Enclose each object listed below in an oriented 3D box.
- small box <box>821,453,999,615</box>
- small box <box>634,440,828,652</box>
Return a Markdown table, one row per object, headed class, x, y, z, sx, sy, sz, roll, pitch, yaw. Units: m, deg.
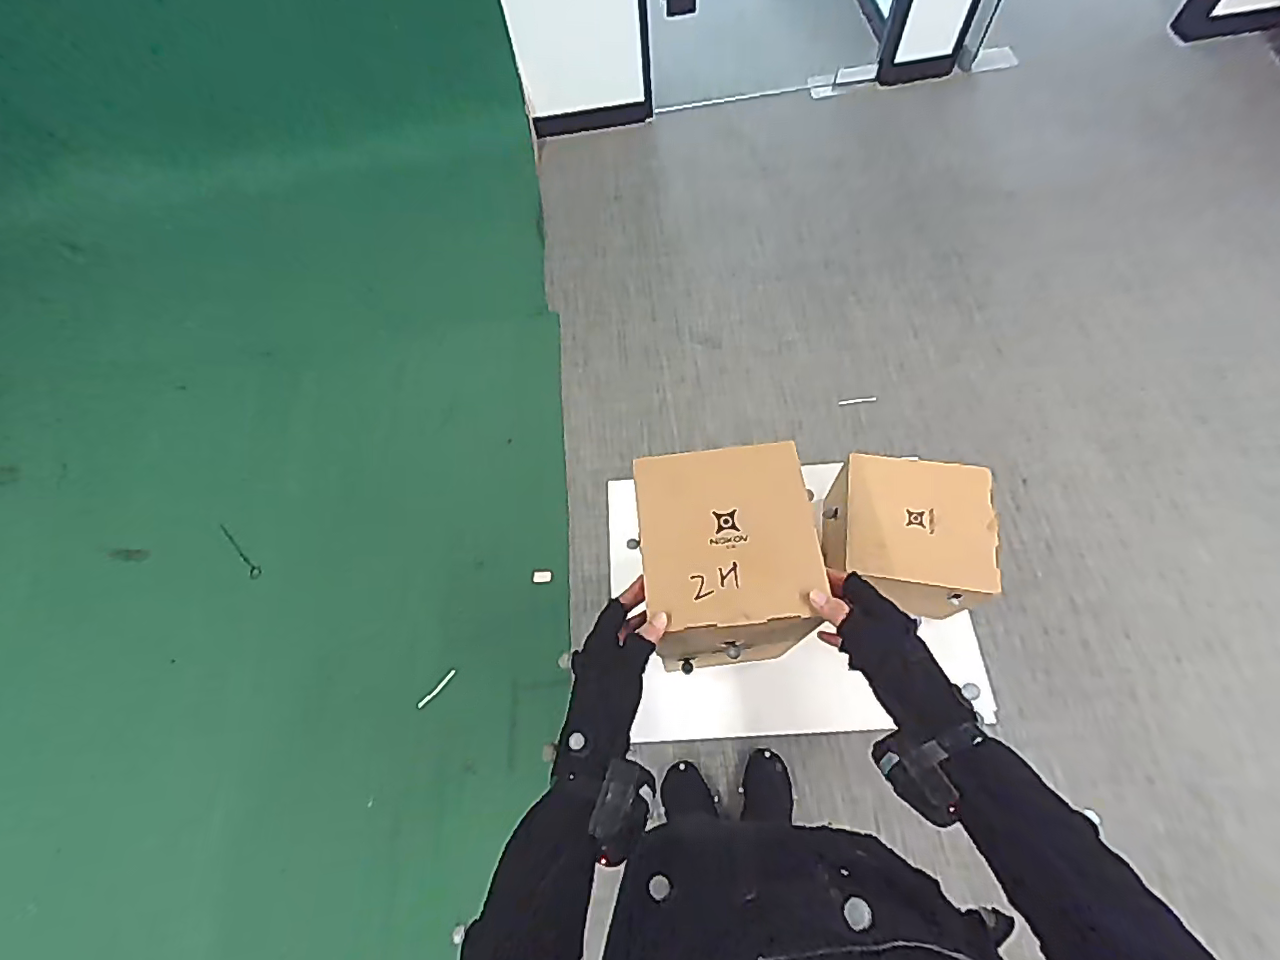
| class | x | y | z | sx | sy | sz | roll | pitch | yaw |
| --- | --- | --- | --- | --- | --- | --- | --- | --- | --- |
| small box | 0.350 | 0.080 | 0.738 | 0.179 | 0.176 | 0.168 | 6 | 67 | 9 |
| small box | 0.084 | 0.078 | 0.581 | 0.168 | 0.176 | 0.179 | -6 | 65 | 2 |
